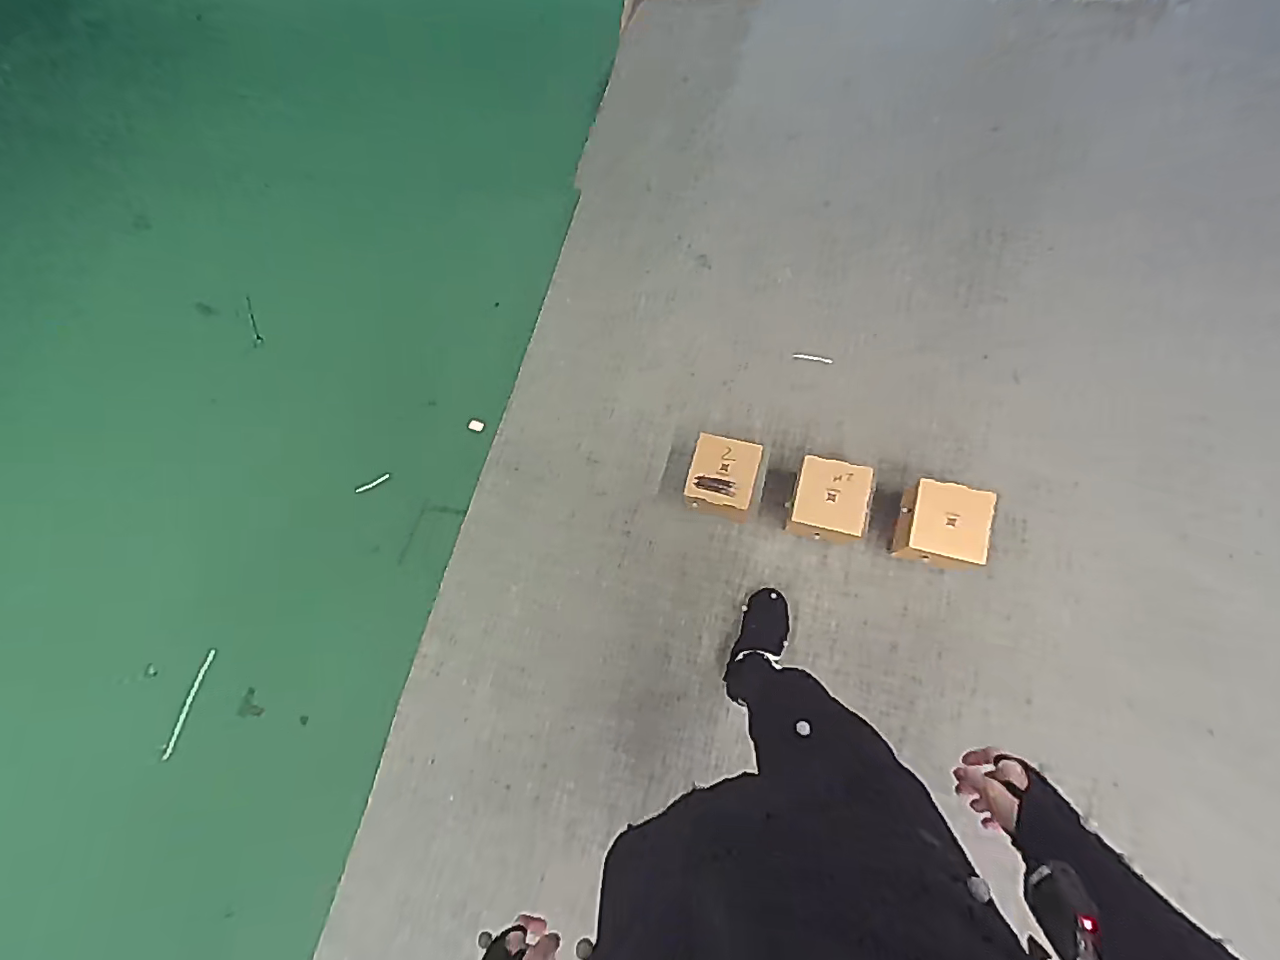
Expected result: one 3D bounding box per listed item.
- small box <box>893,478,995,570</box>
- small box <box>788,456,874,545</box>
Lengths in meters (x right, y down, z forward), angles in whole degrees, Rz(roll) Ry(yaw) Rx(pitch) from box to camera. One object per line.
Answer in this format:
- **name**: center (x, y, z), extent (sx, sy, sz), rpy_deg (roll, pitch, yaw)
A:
- **small box**: center (0.736, 0.115, 1.328), extent (0.168, 0.176, 0.179), rpy_deg (13, 77, 13)
- **small box**: center (0.480, 0.059, 1.383), extent (0.168, 0.176, 0.179), rpy_deg (13, 77, 12)
